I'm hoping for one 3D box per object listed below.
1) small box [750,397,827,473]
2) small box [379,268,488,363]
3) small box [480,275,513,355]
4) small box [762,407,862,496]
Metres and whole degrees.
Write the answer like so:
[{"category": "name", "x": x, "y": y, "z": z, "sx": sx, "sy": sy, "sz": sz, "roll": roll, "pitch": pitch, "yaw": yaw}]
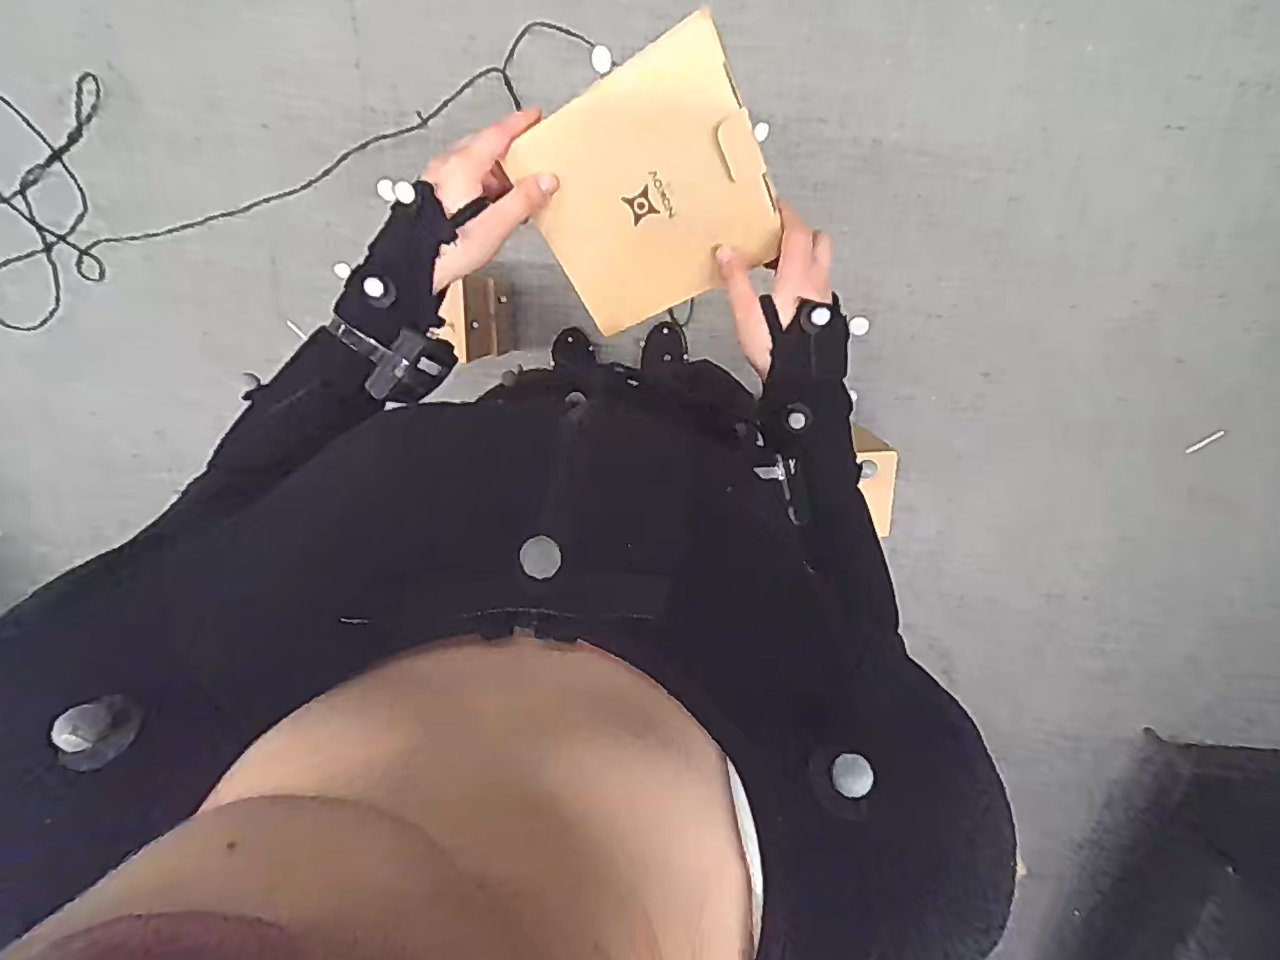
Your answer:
[{"category": "small box", "x": 0.389, "y": -0.118, "z": 1.406, "sx": 0.179, "sy": 0.176, "sz": 0.168, "roll": 2, "pitch": 111, "yaw": 0}, {"category": "small box", "x": -0.428, "y": -0.352, "z": 1.151, "sx": 0.168, "sy": 0.176, "sz": 0.179, "roll": 2, "pitch": 109, "yaw": 0}, {"category": "small box", "x": -0.409, "y": -0.402, "z": 1.307, "sx": 0.168, "sy": 0.176, "sz": 0.179, "roll": 2, "pitch": 110, "yaw": 1}, {"category": "small box", "x": 0.386, "y": -0.070, "z": 1.250, "sx": 0.179, "sy": 0.176, "sz": 0.168, "roll": -1, "pitch": 112, "yaw": 0}]
